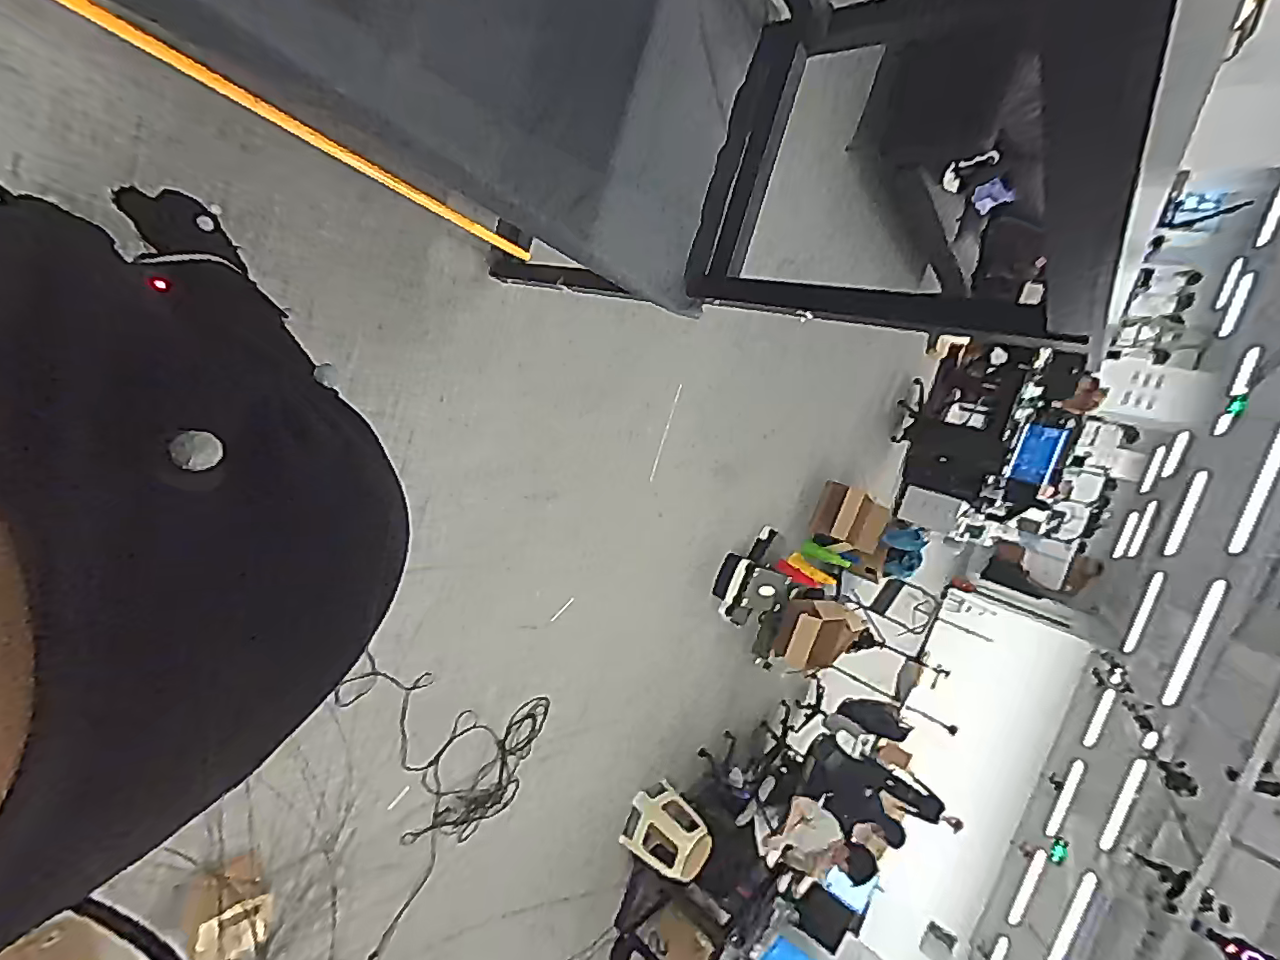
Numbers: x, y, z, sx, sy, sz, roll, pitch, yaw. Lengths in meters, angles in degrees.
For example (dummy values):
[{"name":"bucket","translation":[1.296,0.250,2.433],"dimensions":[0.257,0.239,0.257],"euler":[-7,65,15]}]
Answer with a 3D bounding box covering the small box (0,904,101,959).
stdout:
[{"name":"small box","translation":[-1.377,1.142,1.240],"dimensions":[0.168,0.176,0.179],"euler":[6,101,-54]}]
